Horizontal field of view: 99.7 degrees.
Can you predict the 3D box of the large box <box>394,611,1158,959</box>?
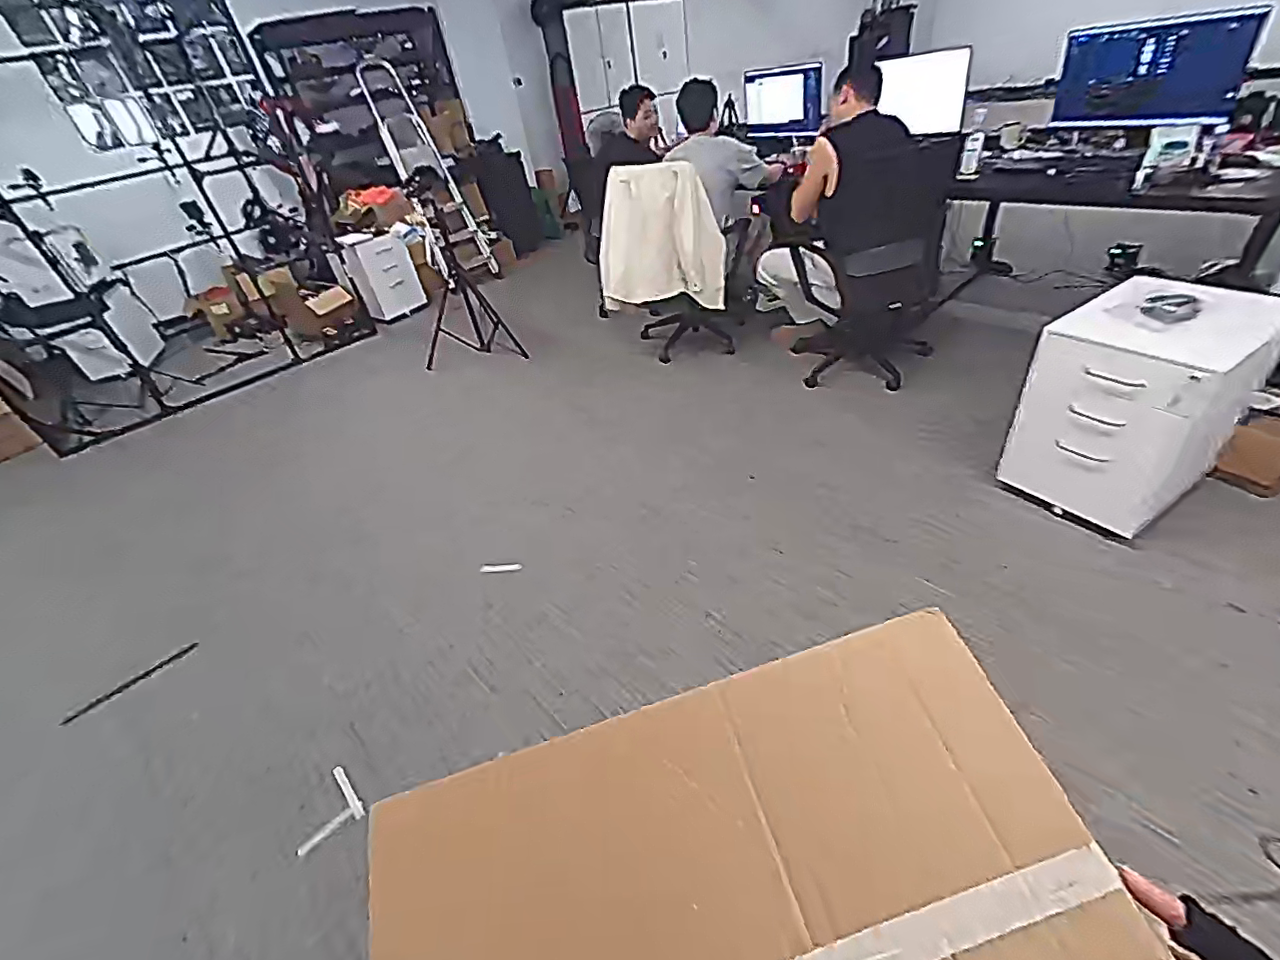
[{"bbox_3d":[0.084,0.356,0.413,0.408,0.320,0.320,-18,57,-3],"label":"large box"}]
